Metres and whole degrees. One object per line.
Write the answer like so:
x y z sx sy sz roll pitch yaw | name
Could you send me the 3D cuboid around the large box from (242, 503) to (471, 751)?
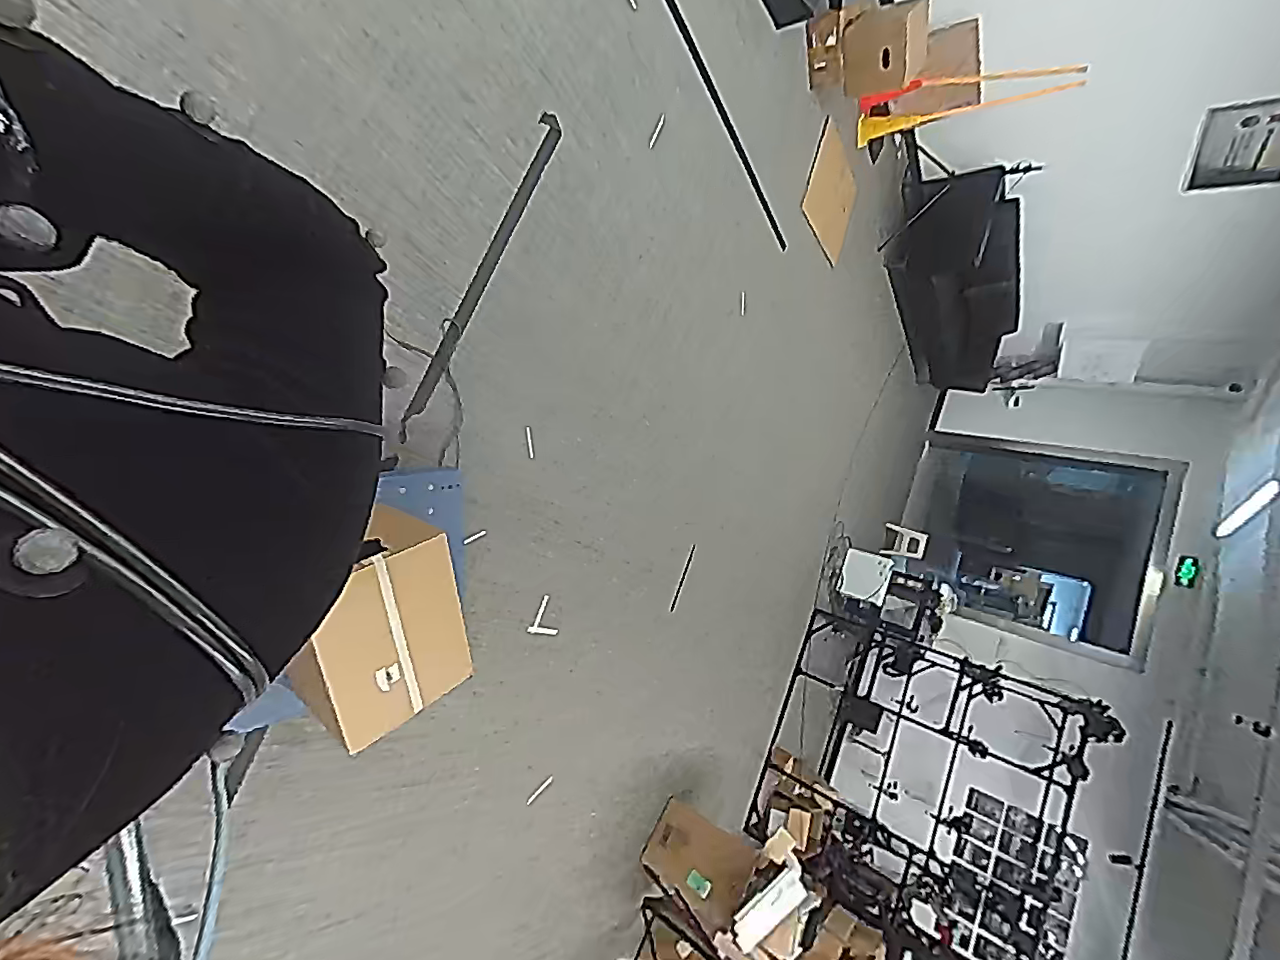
-0.644 0.314 1.258 0.320 0.320 0.408 -26 121 -45 | large box
